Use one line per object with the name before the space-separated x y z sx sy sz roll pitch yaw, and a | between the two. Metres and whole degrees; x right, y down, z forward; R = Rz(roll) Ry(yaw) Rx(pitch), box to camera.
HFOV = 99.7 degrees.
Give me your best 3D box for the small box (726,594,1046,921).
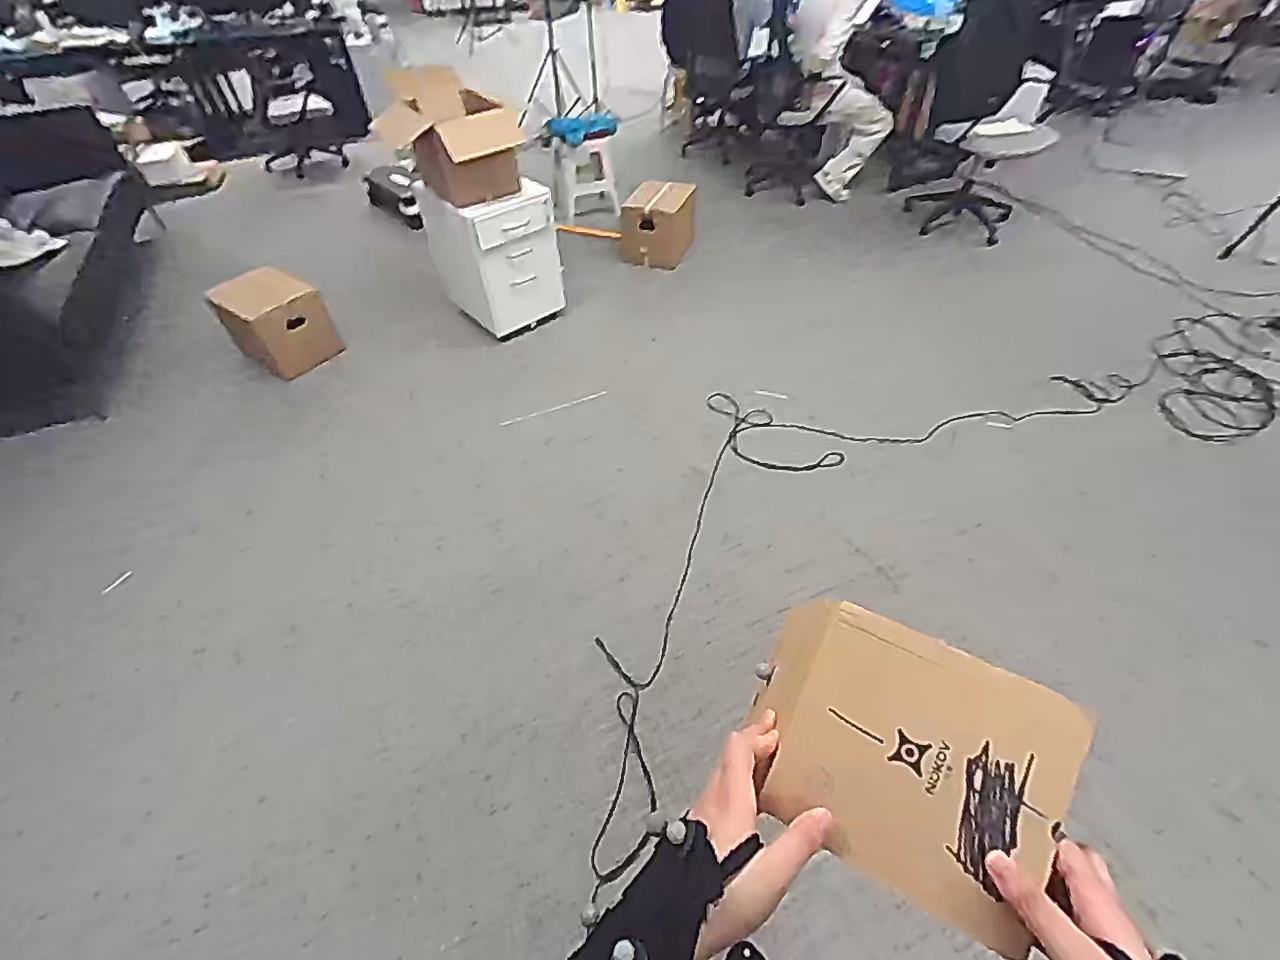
small box | 0.190 0.213 0.469 0.179 0.176 0.168 24 77 10
